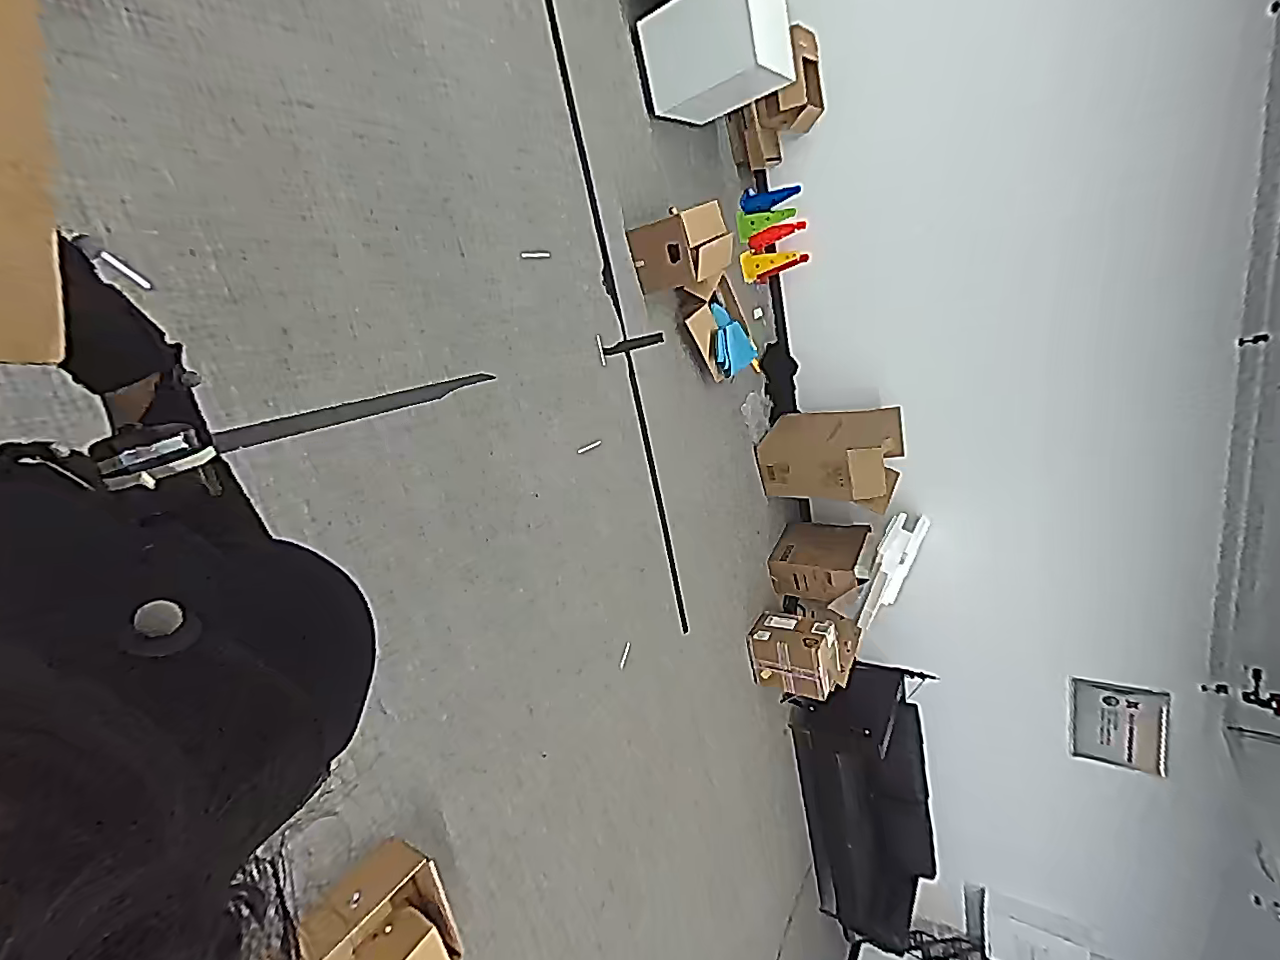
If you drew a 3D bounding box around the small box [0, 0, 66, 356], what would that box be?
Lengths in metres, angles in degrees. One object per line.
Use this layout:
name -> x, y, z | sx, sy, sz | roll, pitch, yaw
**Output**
small box -> -0.354, -0.161, 0.198 | 0.168, 0.176, 0.179 | -15, 128, -57
